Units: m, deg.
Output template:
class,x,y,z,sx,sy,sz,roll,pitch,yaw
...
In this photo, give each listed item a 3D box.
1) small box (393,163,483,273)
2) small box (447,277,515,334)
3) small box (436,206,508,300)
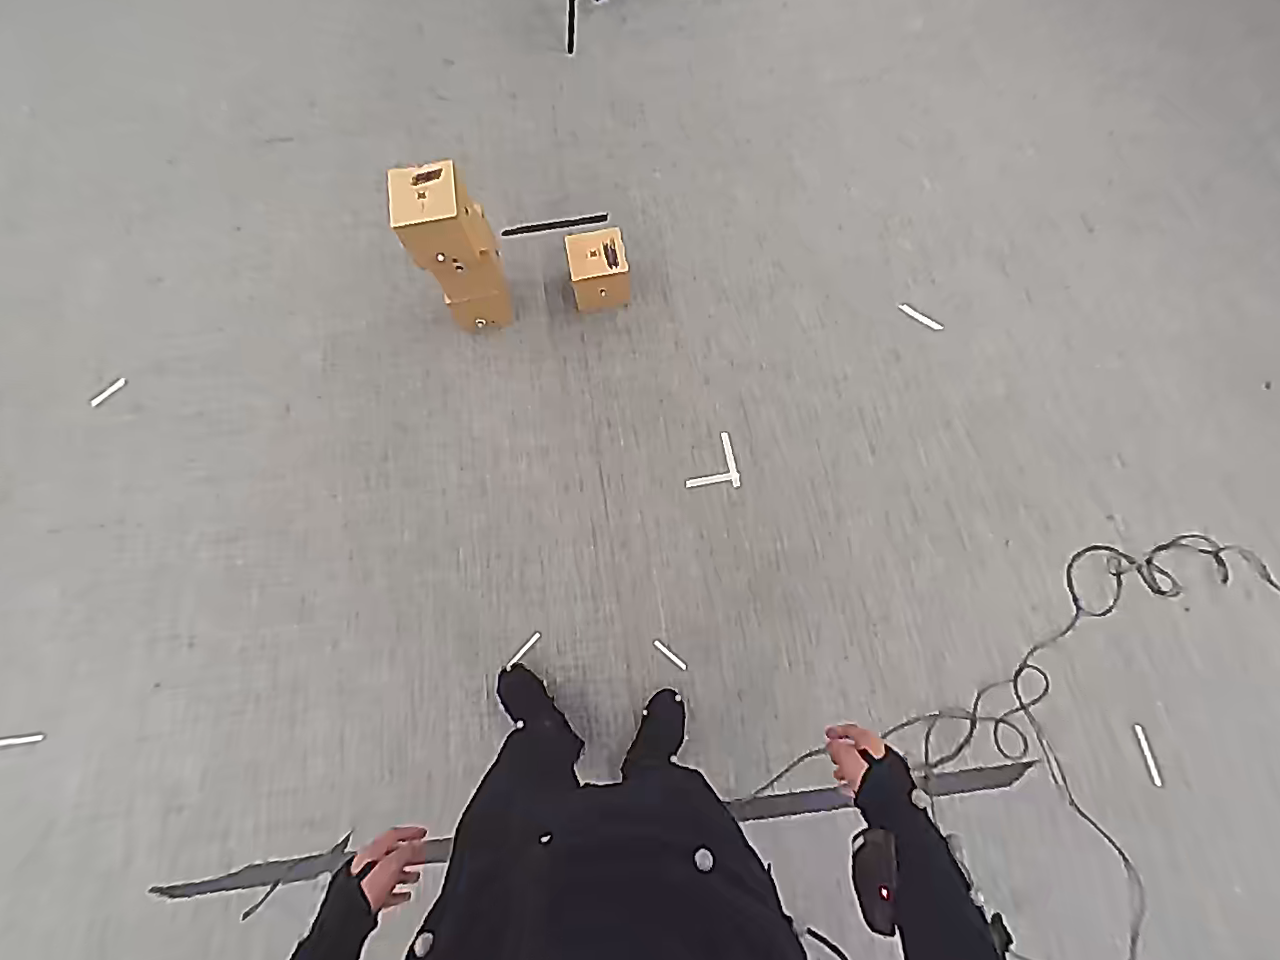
class,x,y,z,sx,sy,sz,roll,pitch,yaw
small box,-0.514,-0.666,1.386,0.168,0.176,0.179,-10,74,1
small box,-0.502,-0.591,1.706,0.168,0.176,0.179,-12,73,-1
small box,-0.496,-0.644,1.550,0.179,0.176,0.168,-13,73,-1
